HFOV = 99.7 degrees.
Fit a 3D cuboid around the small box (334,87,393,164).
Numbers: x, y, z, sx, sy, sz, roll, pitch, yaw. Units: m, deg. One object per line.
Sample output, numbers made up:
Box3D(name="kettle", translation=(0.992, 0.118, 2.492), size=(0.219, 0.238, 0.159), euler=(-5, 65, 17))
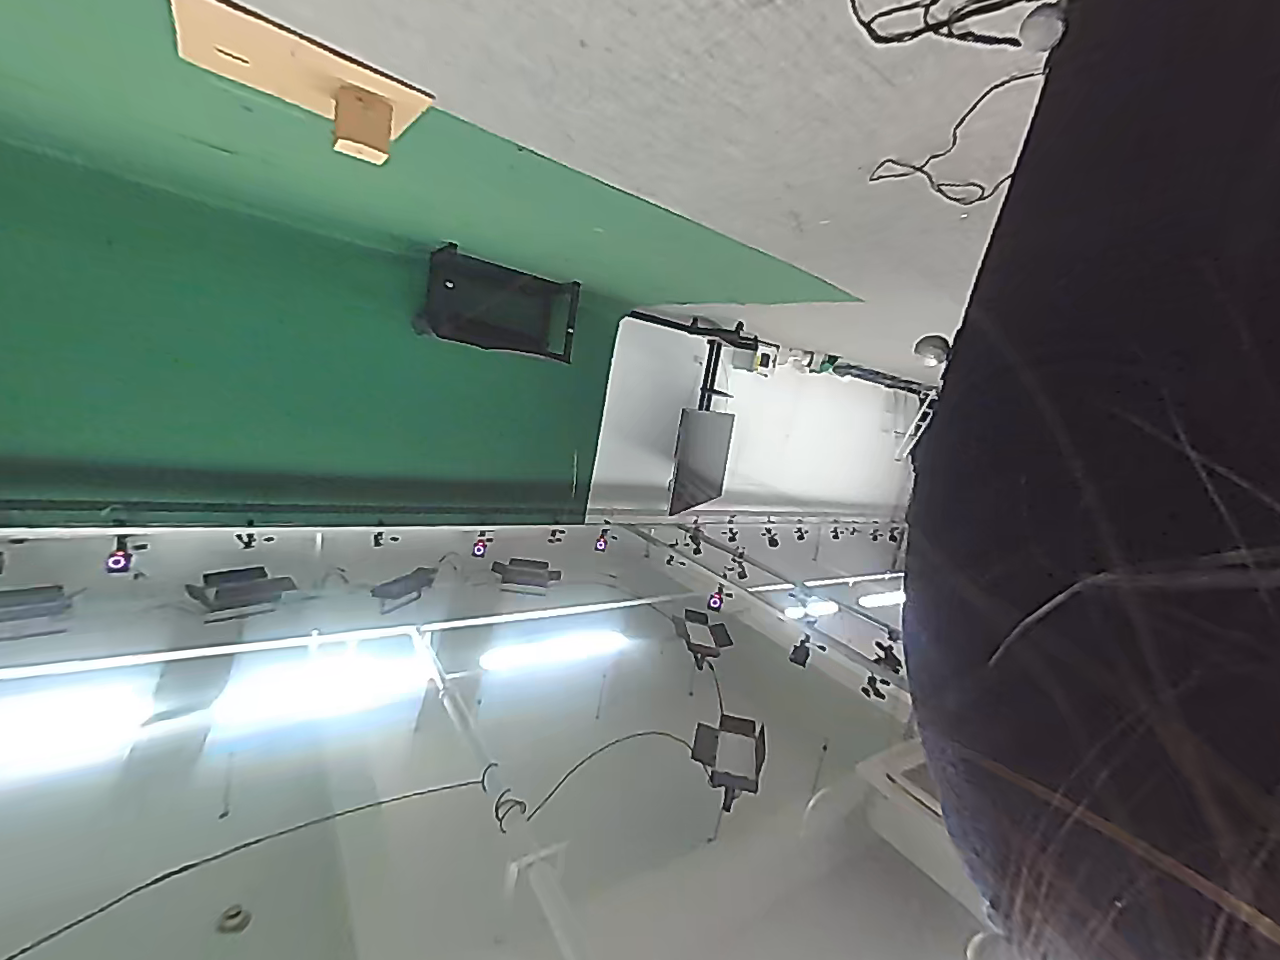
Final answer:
Box3D(name="small box", translation=(-1.019, -1.301, 1.990), size=(0.168, 0.176, 0.179), euler=(1, -167, -37))
